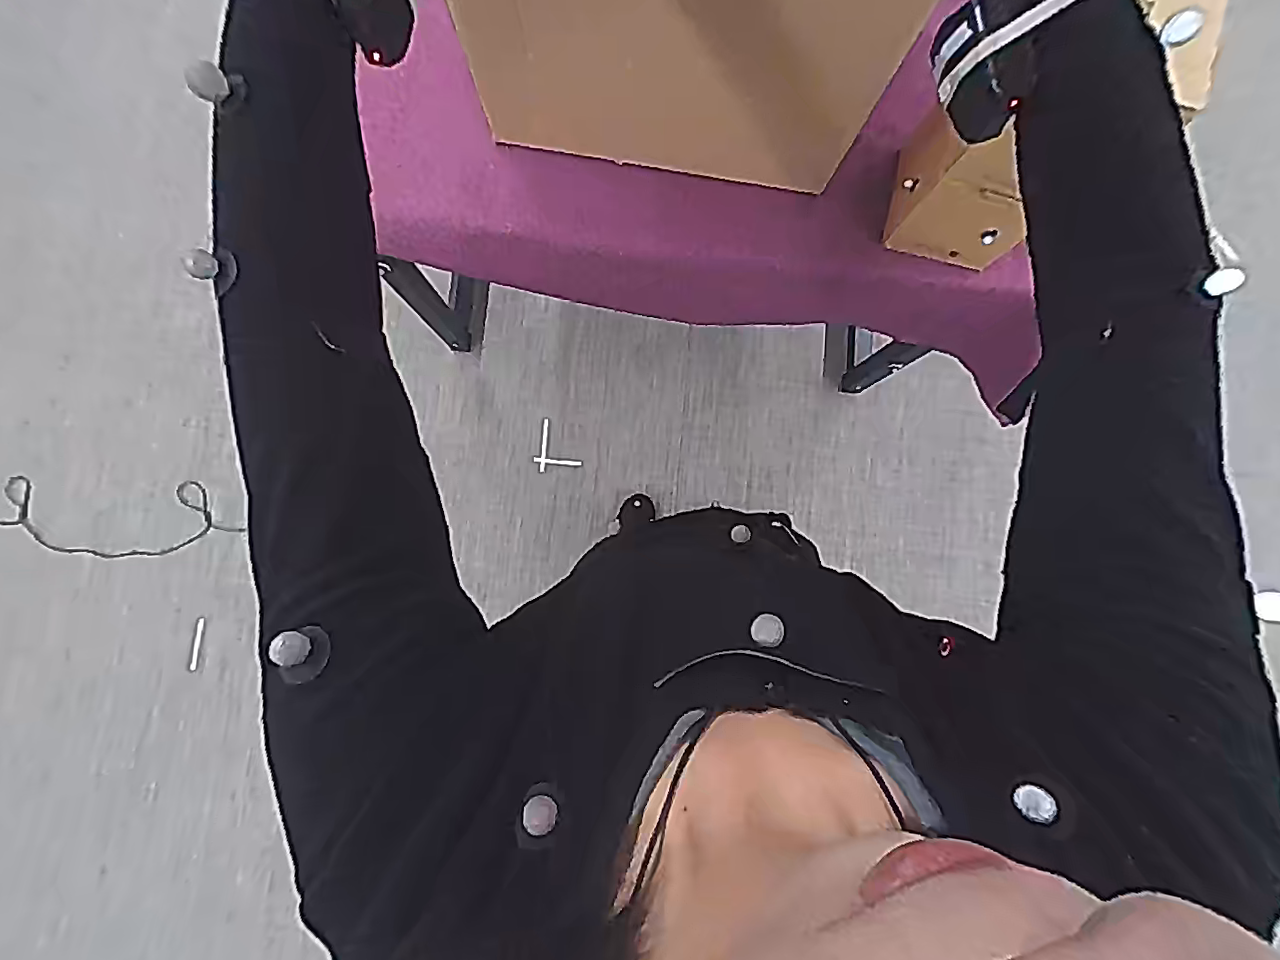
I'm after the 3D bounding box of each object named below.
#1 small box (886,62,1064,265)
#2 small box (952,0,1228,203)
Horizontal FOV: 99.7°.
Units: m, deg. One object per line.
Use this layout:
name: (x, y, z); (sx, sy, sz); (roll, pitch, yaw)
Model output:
small box: (0.483, -0.442, 0.783); (0.168, 0.176, 0.179); (13, 83, -1)
small box: (0.496, -0.459, 0.620); (0.168, 0.176, 0.179); (18, 85, -1)
